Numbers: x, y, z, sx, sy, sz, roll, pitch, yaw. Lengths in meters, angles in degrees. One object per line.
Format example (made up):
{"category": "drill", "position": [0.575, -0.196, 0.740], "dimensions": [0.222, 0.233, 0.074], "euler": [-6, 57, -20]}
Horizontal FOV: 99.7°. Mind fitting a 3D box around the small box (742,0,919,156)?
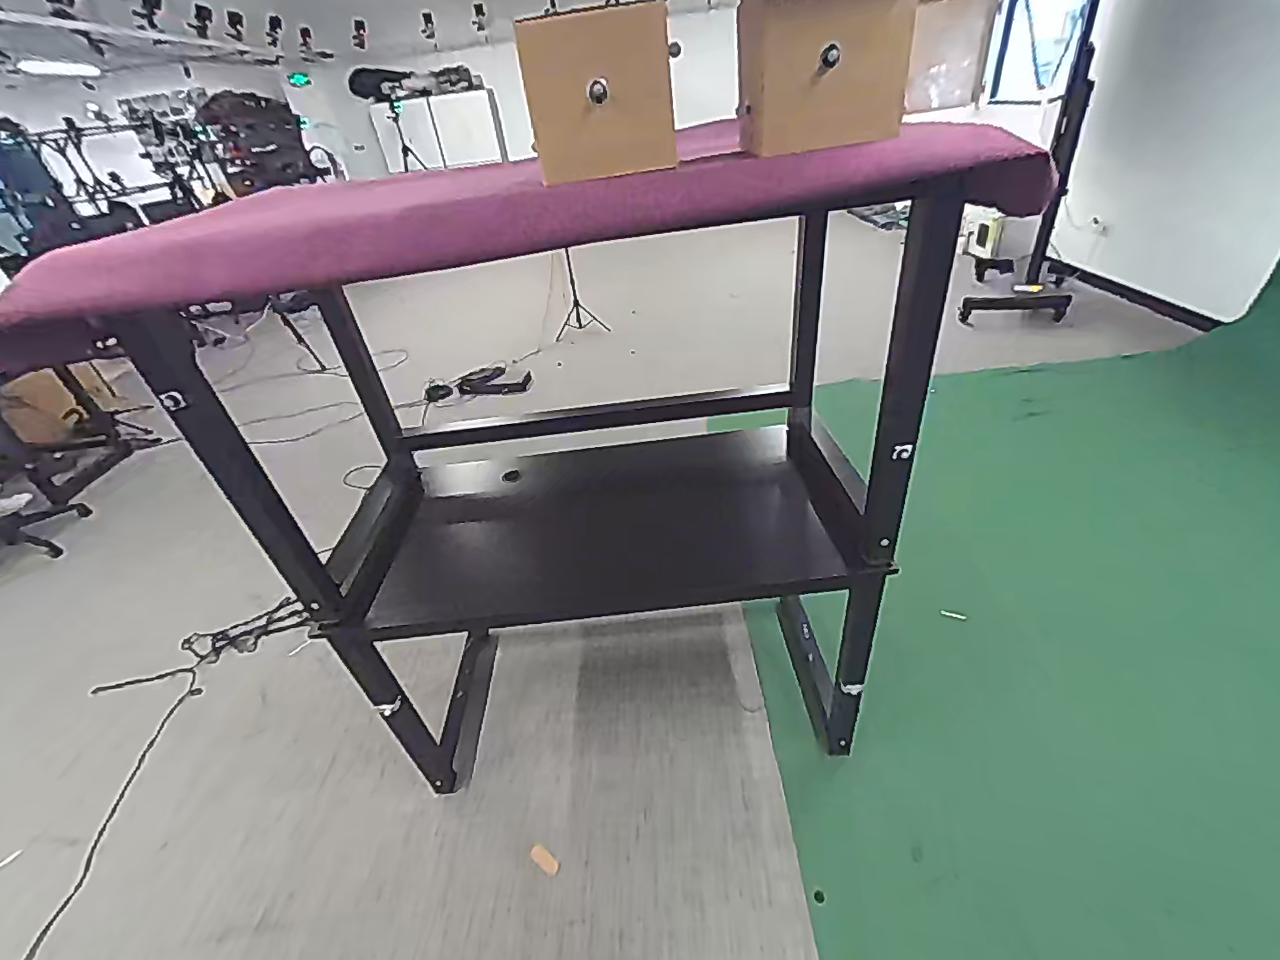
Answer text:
{"category": "small box", "position": [0.231, -0.533, 0.695], "dimensions": [0.179, 0.176, 0.168], "euler": [-7, 35, 4]}
